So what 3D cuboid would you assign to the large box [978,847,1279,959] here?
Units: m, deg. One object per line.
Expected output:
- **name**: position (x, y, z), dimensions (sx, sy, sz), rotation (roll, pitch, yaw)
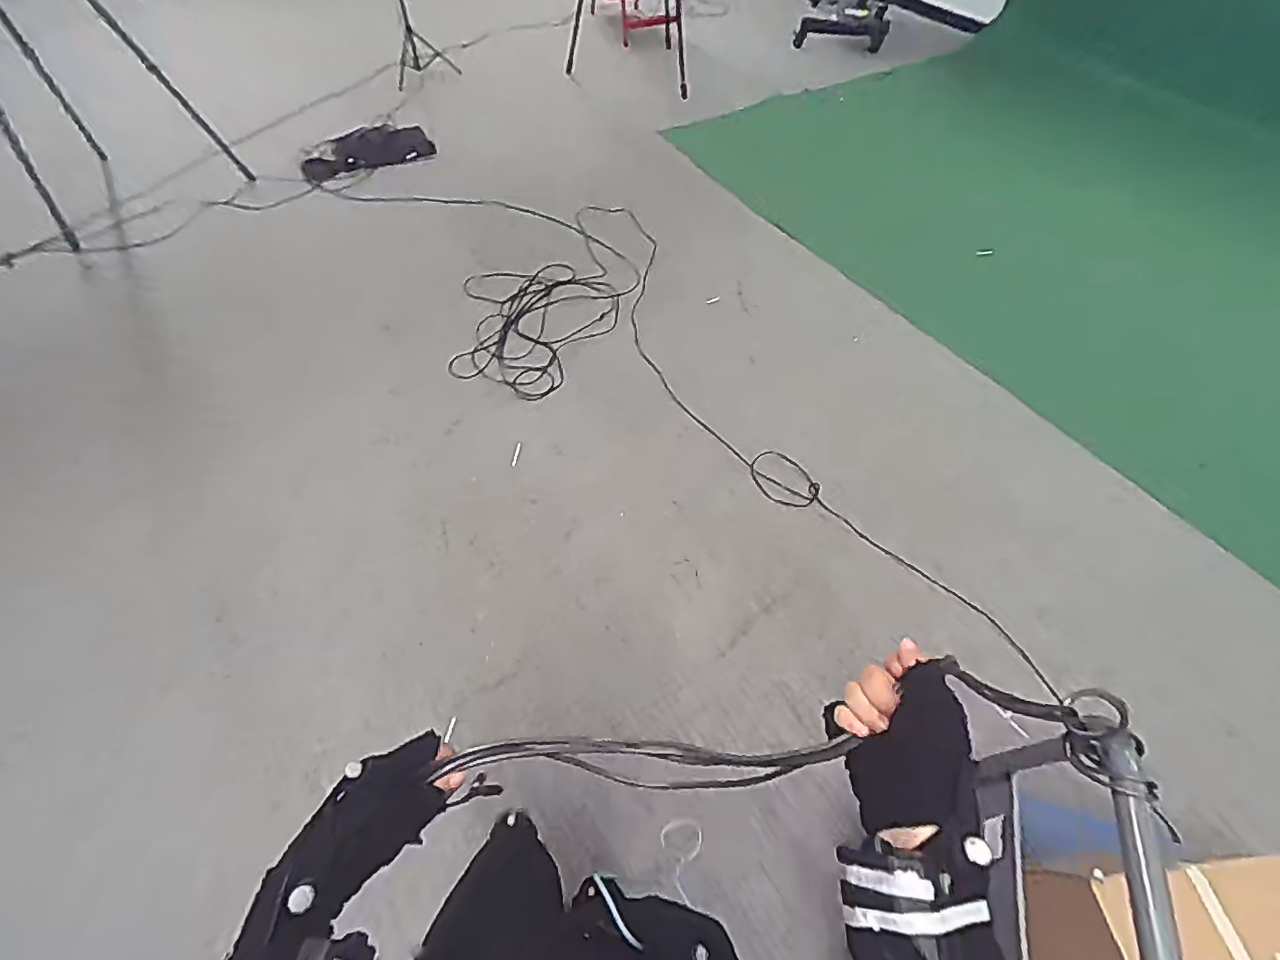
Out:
- **large box**: position (0.827, 0.829, 0.836), dimensions (0.320, 0.320, 0.408), rotation (-4, 55, -5)
